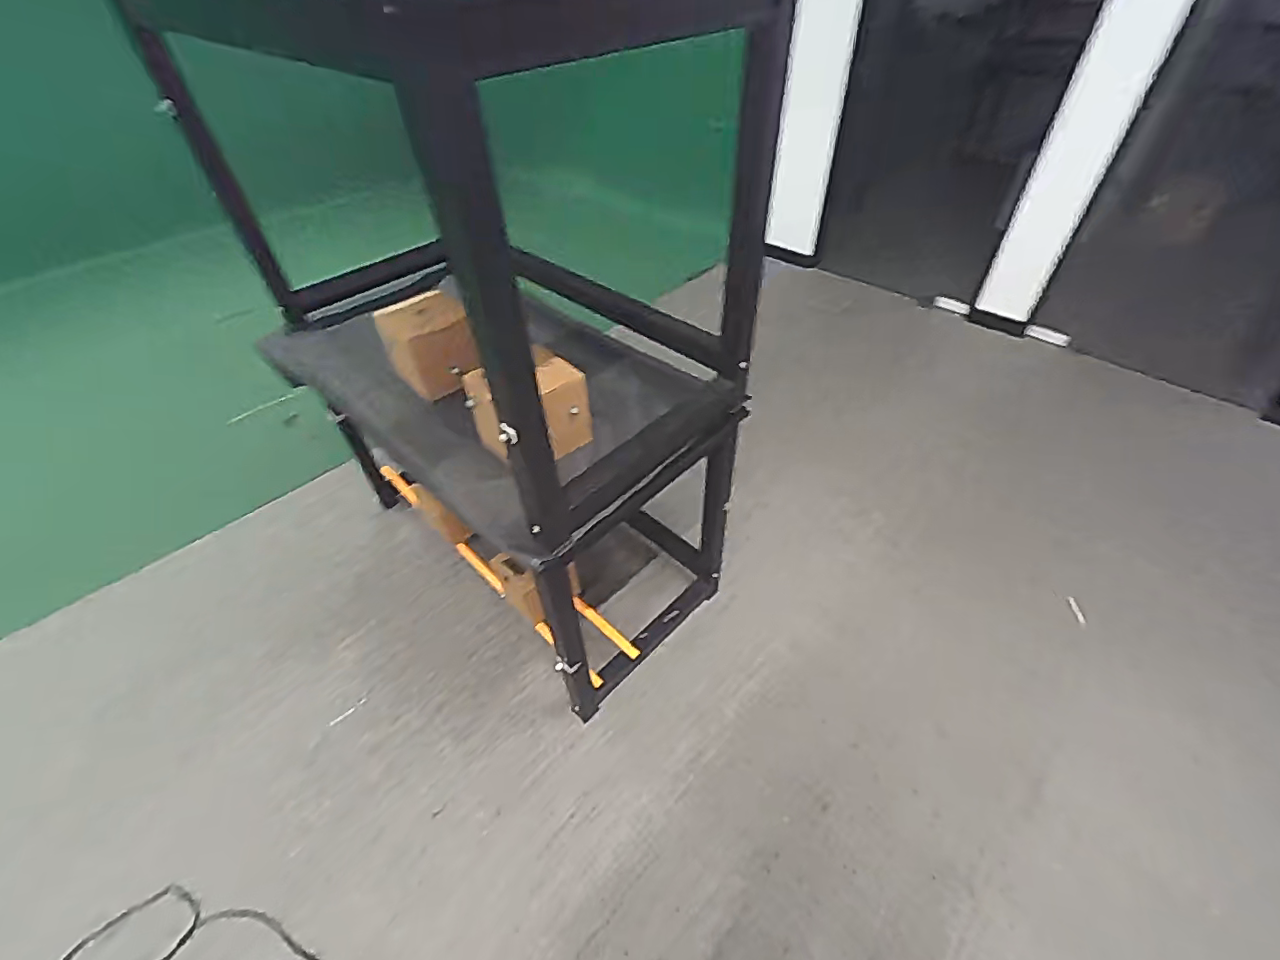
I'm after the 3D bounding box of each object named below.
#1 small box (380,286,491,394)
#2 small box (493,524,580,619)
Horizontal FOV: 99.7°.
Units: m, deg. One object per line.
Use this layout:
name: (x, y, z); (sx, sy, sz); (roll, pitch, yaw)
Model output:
small box: (-0.482, -0.333, 1.290); (0.168, 0.176, 0.179); (-34, 53, -27)
small box: (-0.292, 0.267, 1.565); (0.179, 0.176, 0.168); (-34, 53, -26)
